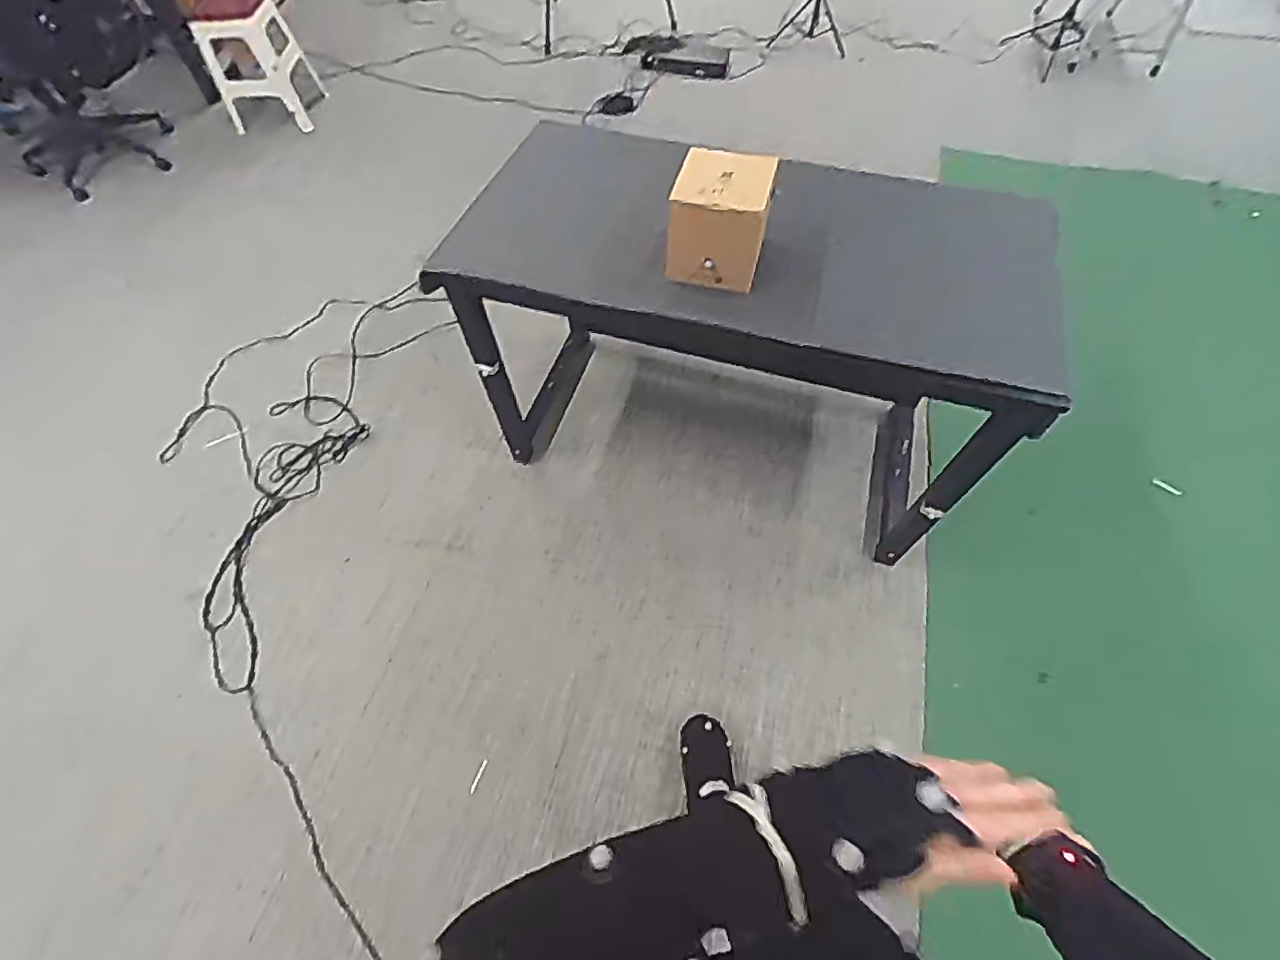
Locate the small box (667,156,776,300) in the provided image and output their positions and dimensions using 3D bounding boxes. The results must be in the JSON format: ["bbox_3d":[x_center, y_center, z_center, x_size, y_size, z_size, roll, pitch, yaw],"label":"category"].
[{"bbox_3d":[0.149,-0.476,1.028,0.168,0.176,0.179,13,59,9],"label":"small box"}]
